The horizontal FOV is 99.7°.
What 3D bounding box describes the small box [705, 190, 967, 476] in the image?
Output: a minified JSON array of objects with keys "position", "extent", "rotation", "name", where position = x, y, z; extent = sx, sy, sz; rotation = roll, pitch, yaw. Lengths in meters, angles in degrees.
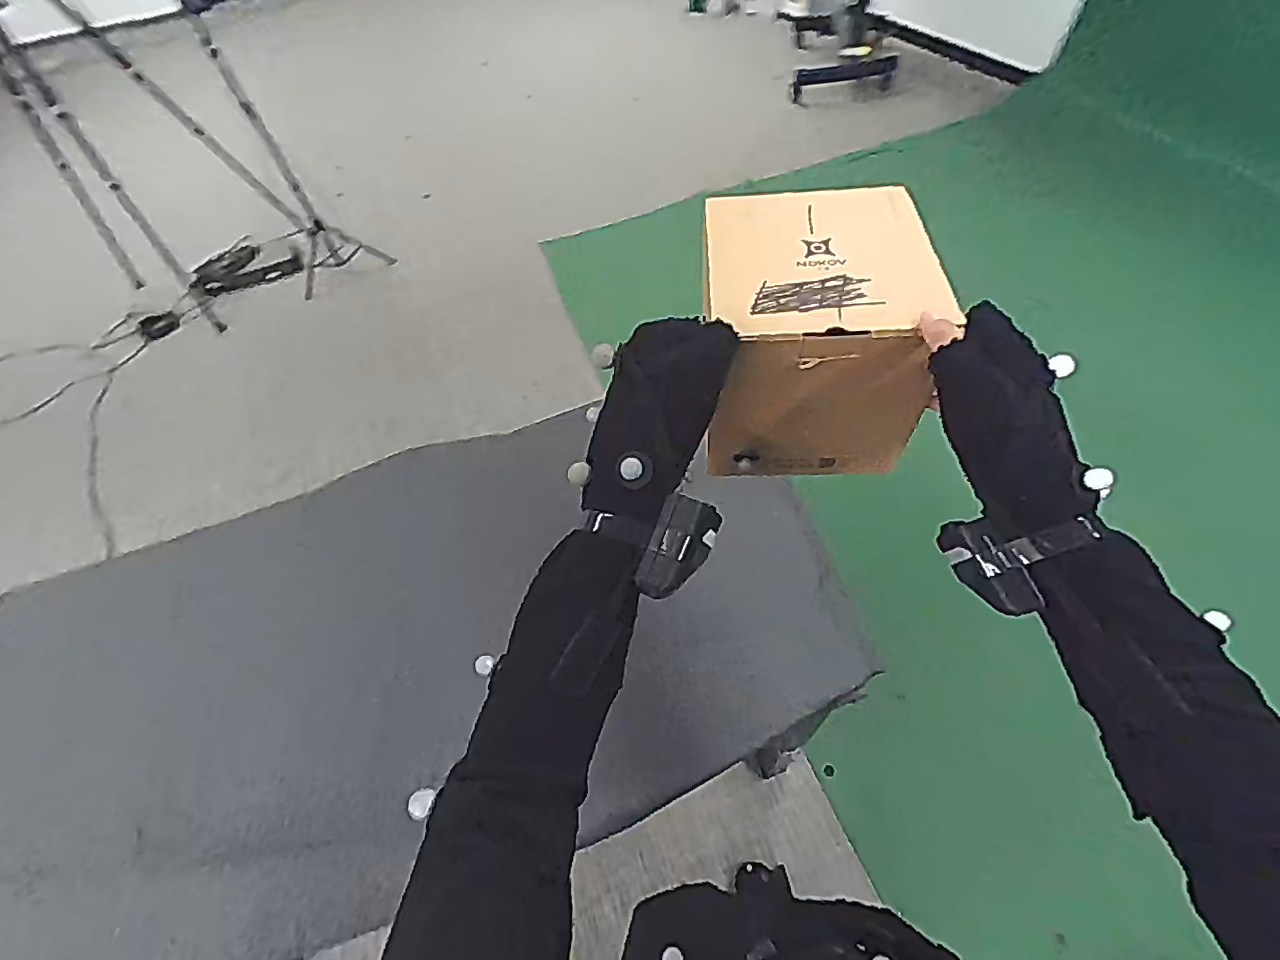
[{"position":[0.141,-0.116,0.463],"extent":[0.168,0.176,0.179],"rotation":[0,55,6],"name":"small box"}]
